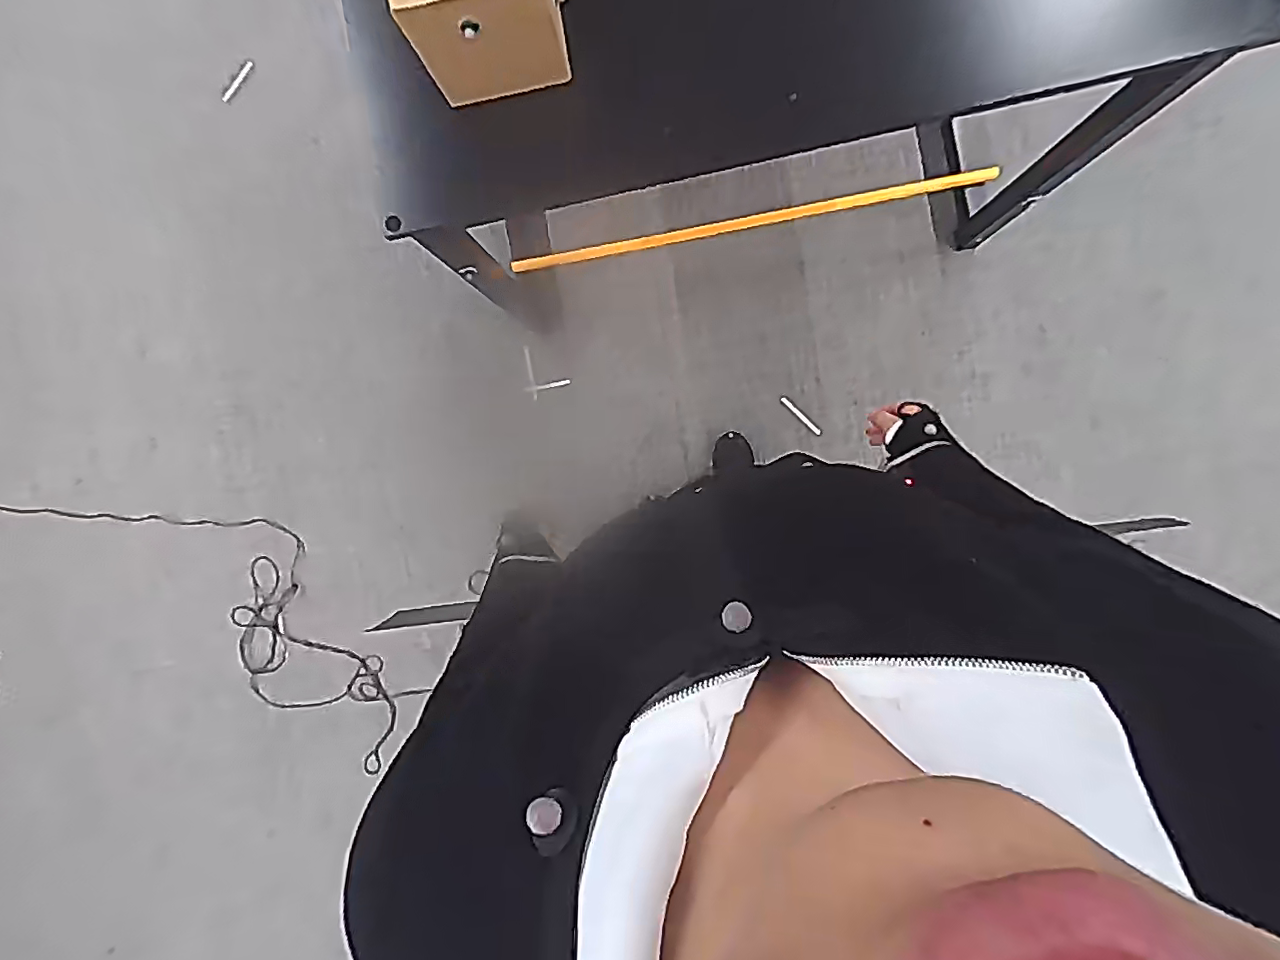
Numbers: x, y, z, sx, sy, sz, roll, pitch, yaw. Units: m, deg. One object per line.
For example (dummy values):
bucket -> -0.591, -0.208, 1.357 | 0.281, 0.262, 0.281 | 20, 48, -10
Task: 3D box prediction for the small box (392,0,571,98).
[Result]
small box -> -0.198, -0.624, 0.679 | 0.179, 0.176, 0.168 | -9, 92, 4
